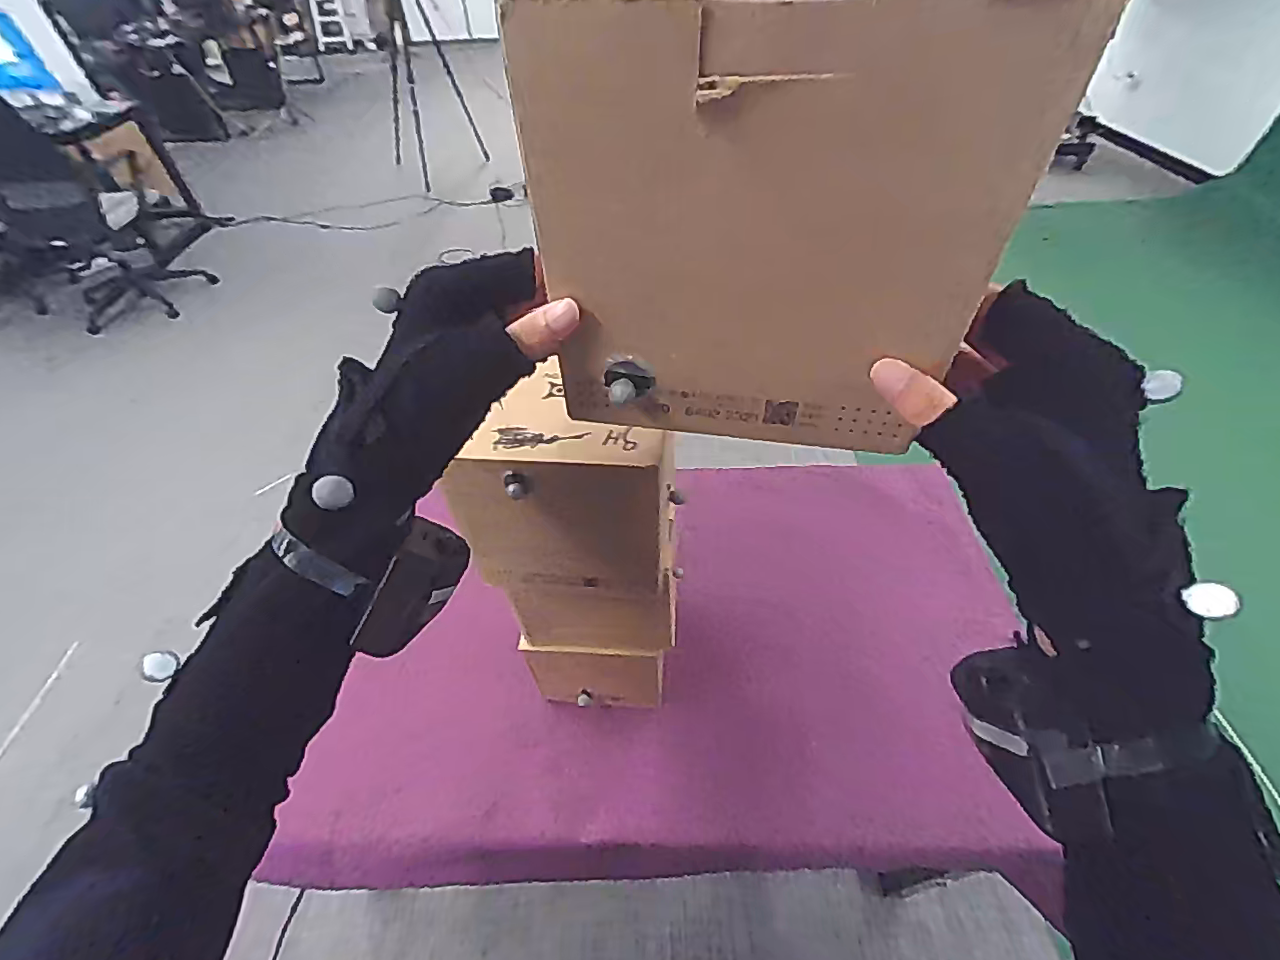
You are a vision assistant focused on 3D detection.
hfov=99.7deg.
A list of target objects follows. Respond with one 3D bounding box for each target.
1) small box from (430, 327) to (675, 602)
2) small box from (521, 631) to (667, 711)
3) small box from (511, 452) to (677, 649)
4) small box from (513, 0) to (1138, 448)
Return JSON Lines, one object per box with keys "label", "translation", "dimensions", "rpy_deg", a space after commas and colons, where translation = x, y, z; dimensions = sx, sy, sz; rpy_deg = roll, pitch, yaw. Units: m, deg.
{"label": "small box", "translation": [-0.055, -0.016, 0.480], "dimensions": [0.168, 0.176, 0.179], "rpy_deg": [2, 46, 6]}
{"label": "small box", "translation": [-0.048, 0.190, 0.734], "dimensions": [0.168, 0.176, 0.179], "rpy_deg": [1, 48, 5]}
{"label": "small box", "translation": [-0.048, 0.079, 0.616], "dimensions": [0.179, 0.176, 0.168], "rpy_deg": [1, 47, 4]}
{"label": "small box", "translation": [0.062, -0.135, 0.253], "dimensions": [0.168, 0.176, 0.179], "rpy_deg": [7, 49, 9]}
